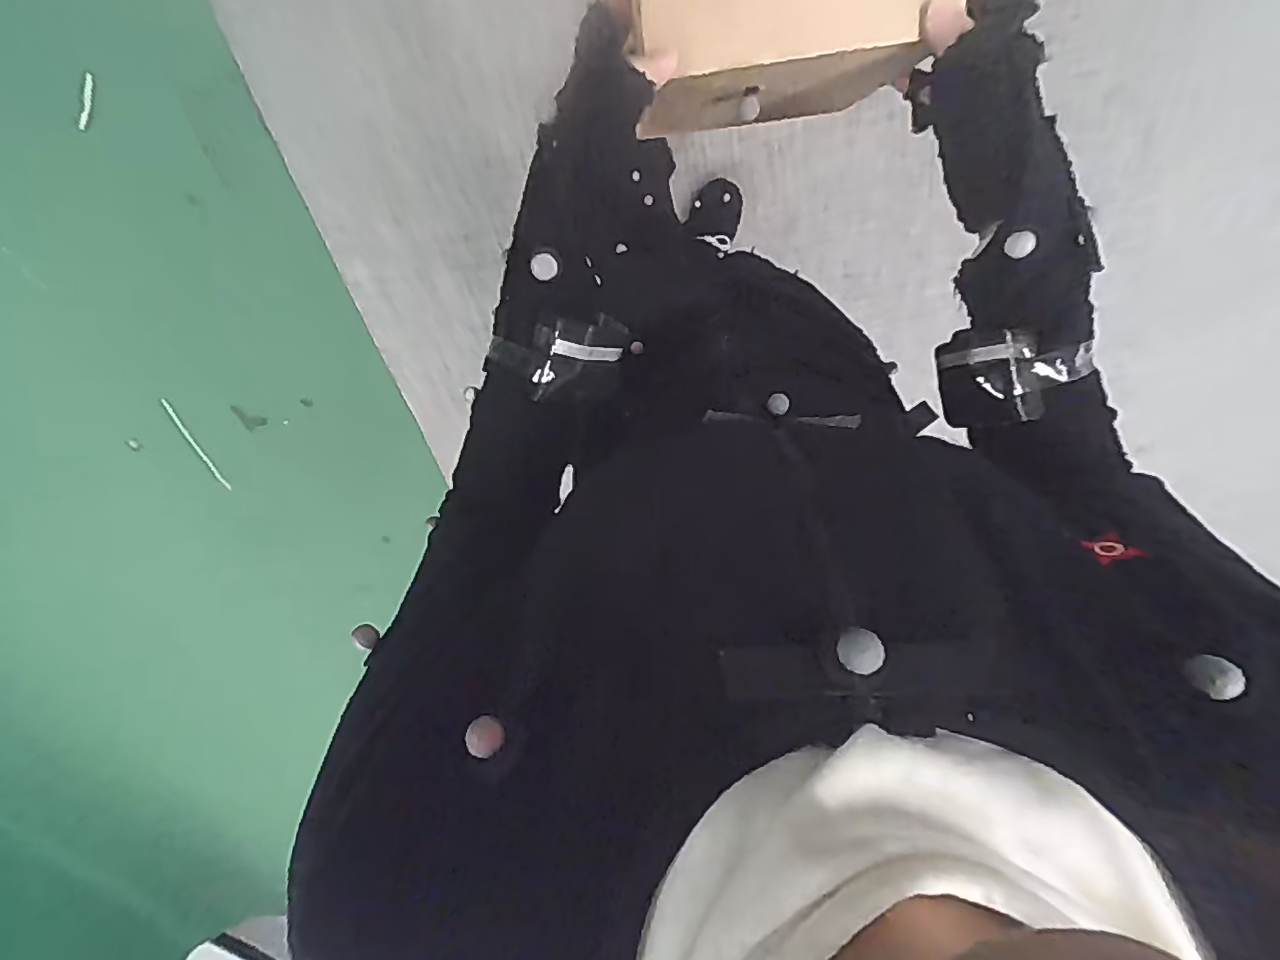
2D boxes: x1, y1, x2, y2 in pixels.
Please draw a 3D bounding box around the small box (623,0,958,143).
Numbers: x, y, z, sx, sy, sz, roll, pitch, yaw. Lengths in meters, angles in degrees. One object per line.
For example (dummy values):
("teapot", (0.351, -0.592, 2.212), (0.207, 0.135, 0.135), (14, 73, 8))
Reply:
("small box", (0.075, -0.341, 0.349), (0.179, 0.176, 0.168), (-10, 110, 3))
